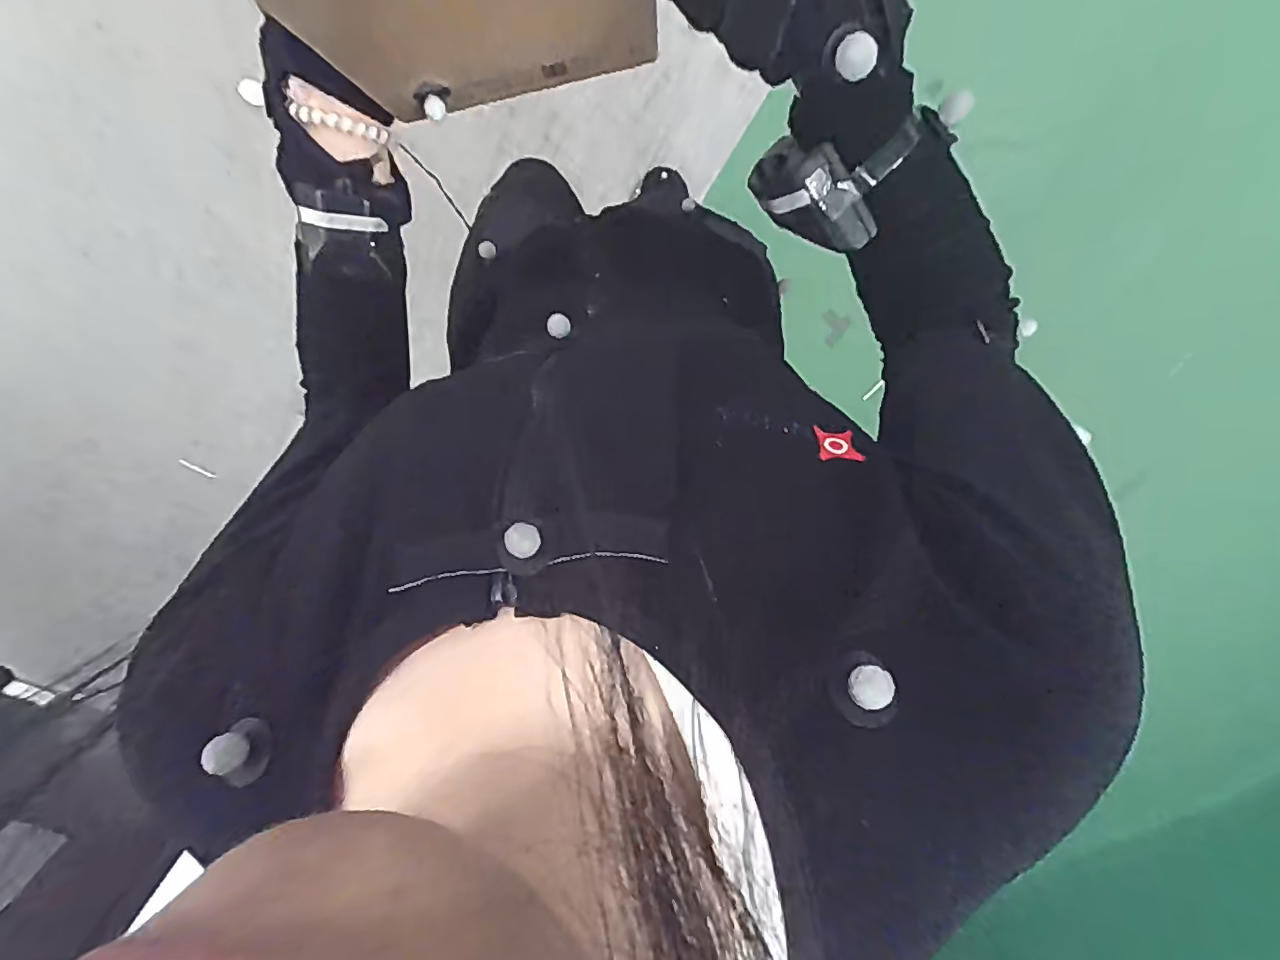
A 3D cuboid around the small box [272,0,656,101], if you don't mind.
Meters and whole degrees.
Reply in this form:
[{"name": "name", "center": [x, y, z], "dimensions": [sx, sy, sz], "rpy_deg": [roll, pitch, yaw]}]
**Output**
[{"name": "small box", "center": [-0.088, -0.301, 0.235], "dimensions": [0.168, 0.176, 0.179], "rpy_deg": [-10, 103, 5]}]
